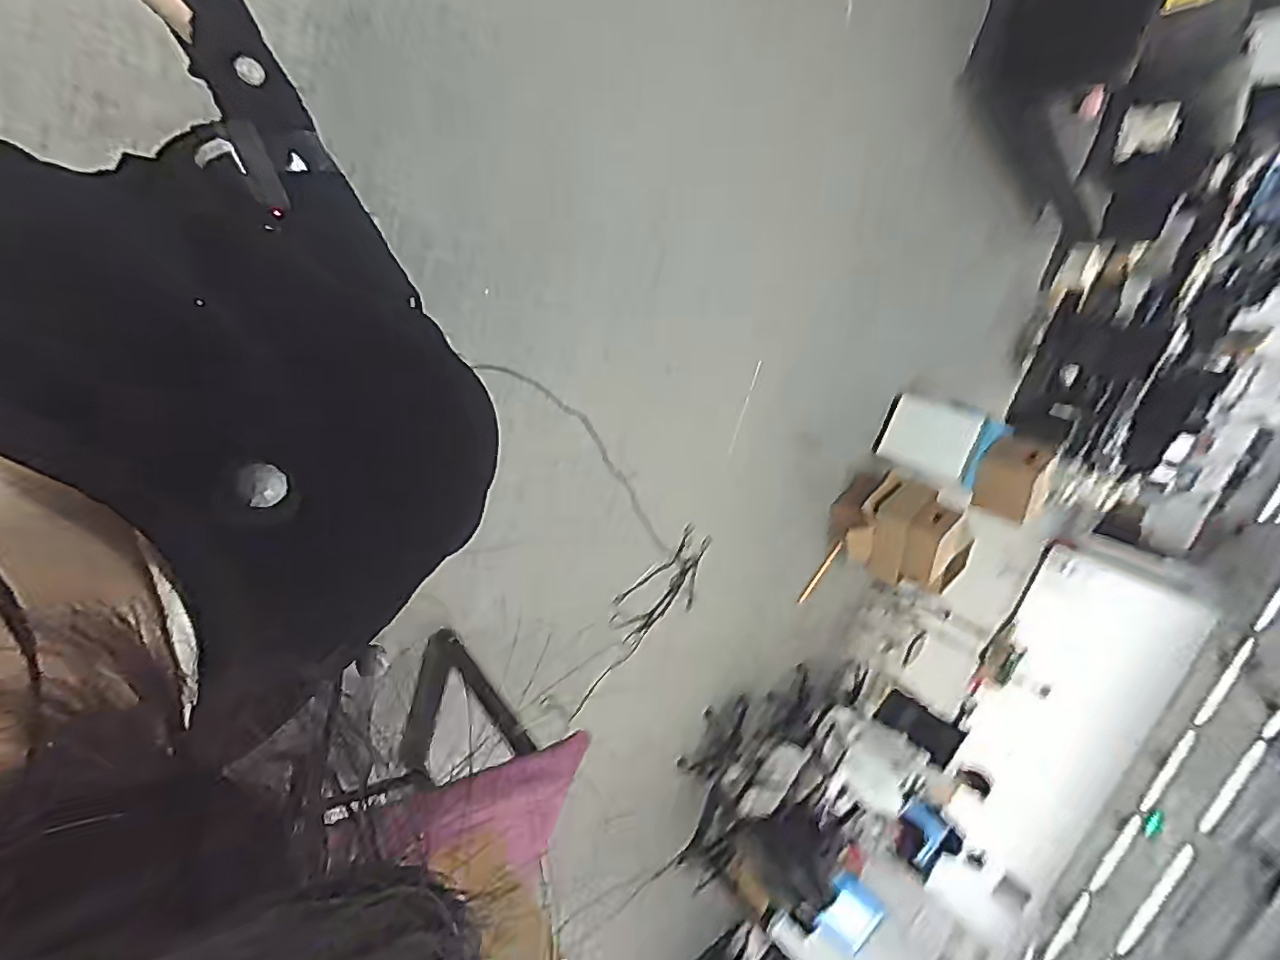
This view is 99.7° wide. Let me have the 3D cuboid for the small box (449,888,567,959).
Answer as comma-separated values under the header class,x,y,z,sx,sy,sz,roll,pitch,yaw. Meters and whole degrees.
class,x,y,z,sx,sy,sz,roll,pitch,yaw
small box,-0.270,0.969,1.081,0.168,0.176,0.179,-4,115,-42
